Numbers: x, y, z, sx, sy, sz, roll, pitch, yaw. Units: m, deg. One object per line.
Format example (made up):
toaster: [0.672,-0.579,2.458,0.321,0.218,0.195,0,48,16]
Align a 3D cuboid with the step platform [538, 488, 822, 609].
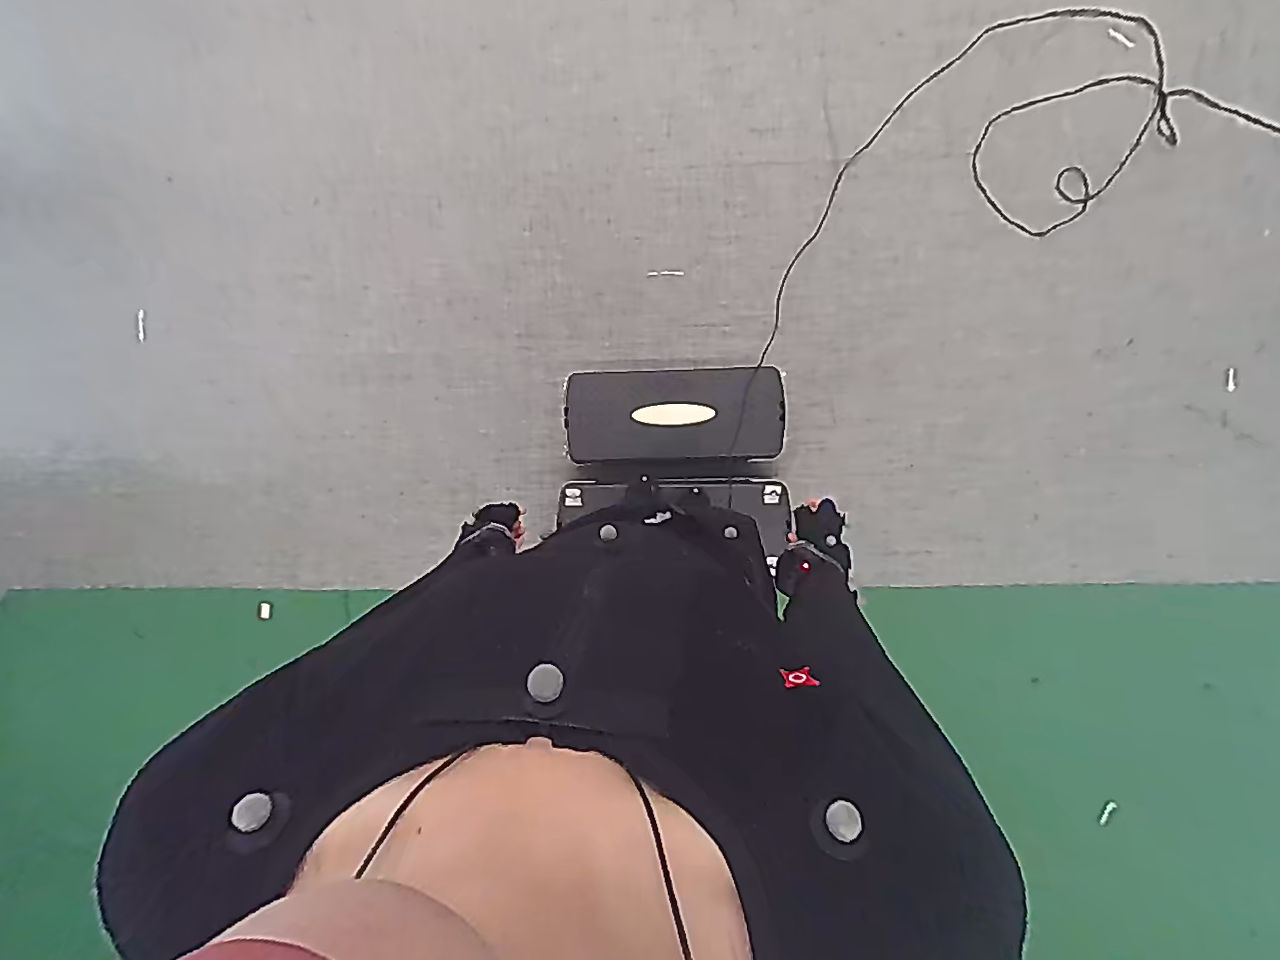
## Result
step platform: [0.094,0.168,1.391,0.684,0.204,0.286,-1,89,2]
